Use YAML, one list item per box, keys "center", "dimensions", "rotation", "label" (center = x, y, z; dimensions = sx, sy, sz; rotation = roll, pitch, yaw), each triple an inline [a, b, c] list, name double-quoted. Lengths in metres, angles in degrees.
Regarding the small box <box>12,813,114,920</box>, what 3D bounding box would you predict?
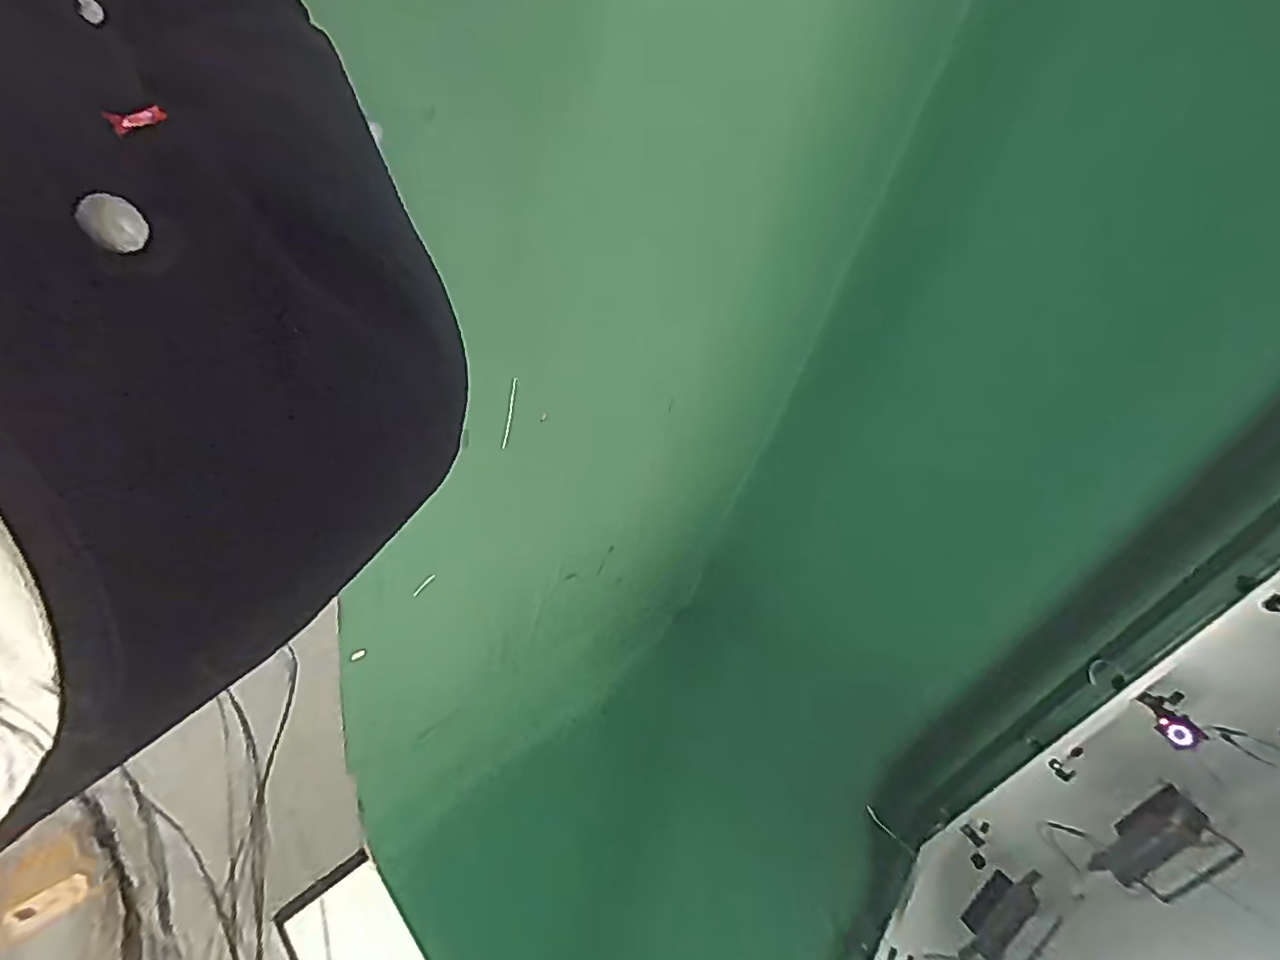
- center: [-1.772, 1.181, 1.660]
  dimensions: [0.179, 0.176, 0.168]
  rotation: [-23, 140, -43]
  label: "small box"
